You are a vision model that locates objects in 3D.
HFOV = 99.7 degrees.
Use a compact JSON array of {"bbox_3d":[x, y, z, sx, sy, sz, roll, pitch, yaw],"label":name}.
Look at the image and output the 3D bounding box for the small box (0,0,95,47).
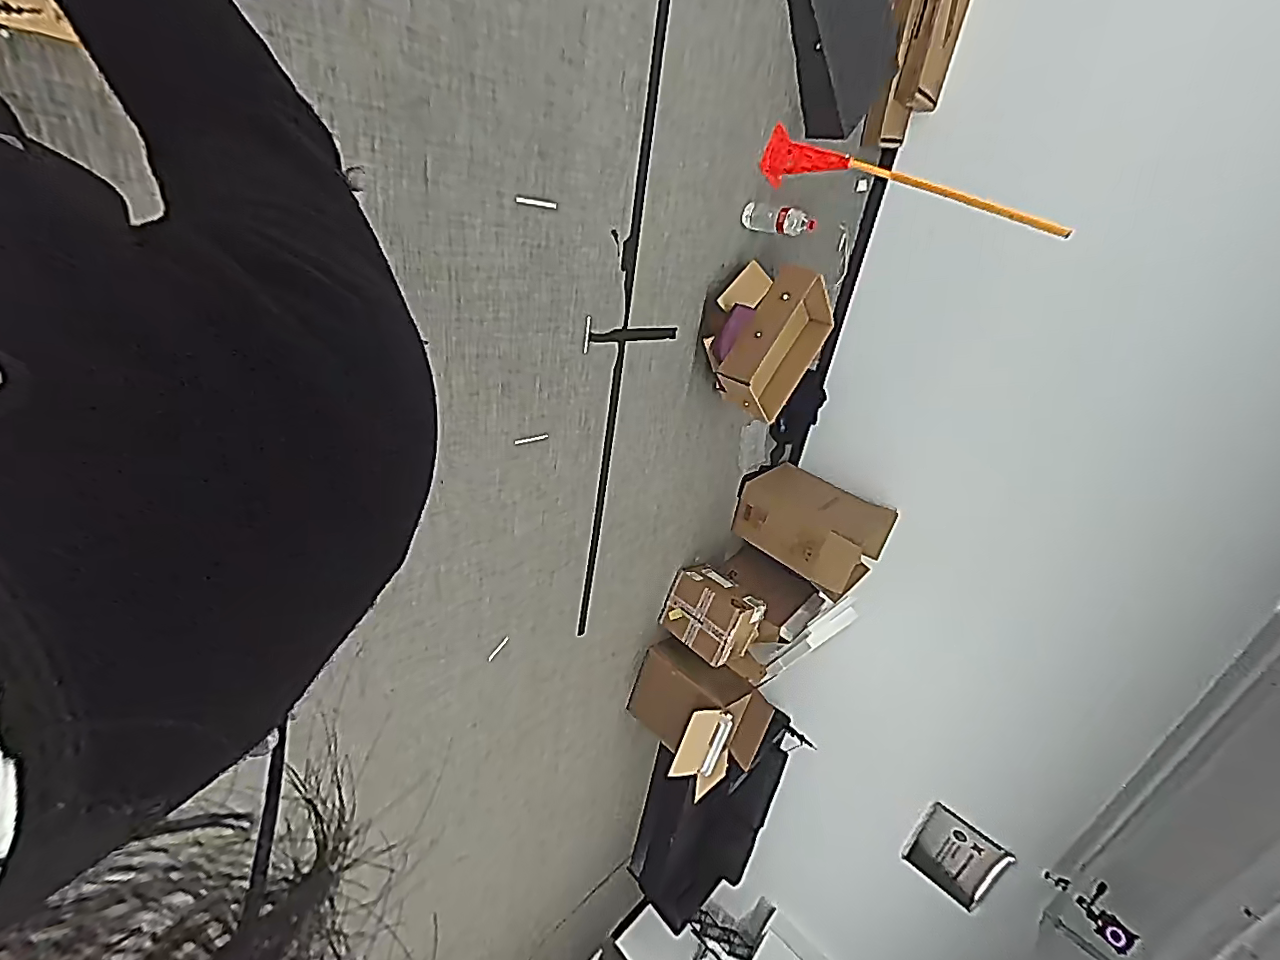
[{"bbox_3d":[-0.934,-0.760,0.781,0.168,0.176,0.179,-18,128,-43],"label":"small box"}]
